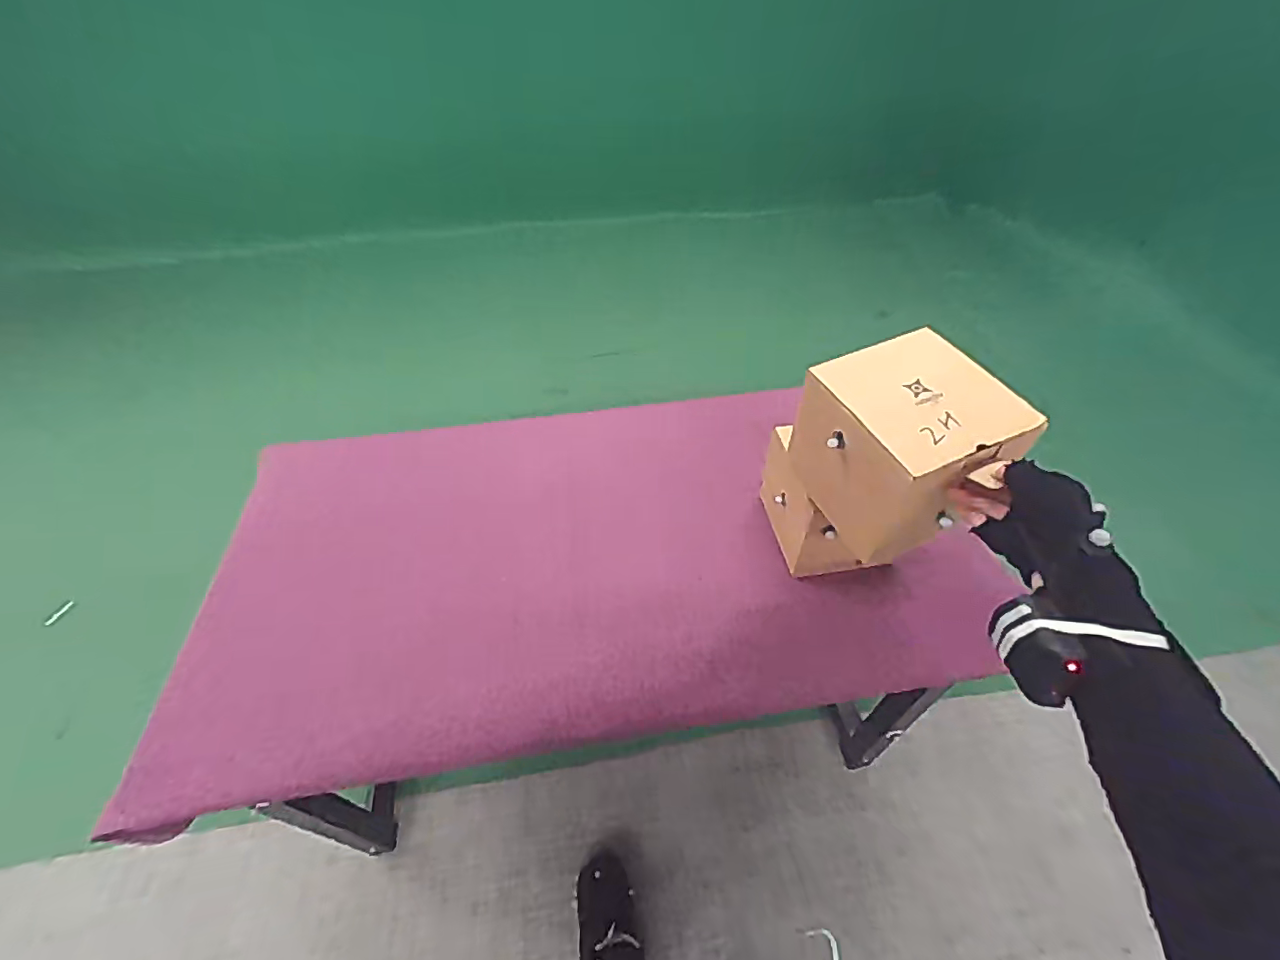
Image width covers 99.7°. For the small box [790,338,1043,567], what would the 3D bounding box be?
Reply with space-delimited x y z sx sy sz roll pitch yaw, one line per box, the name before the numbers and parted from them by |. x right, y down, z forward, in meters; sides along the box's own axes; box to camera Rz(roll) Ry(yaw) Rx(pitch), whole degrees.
small box | 0.296 -0.030 0.630 0.168 0.176 0.179 -20 54 -11
